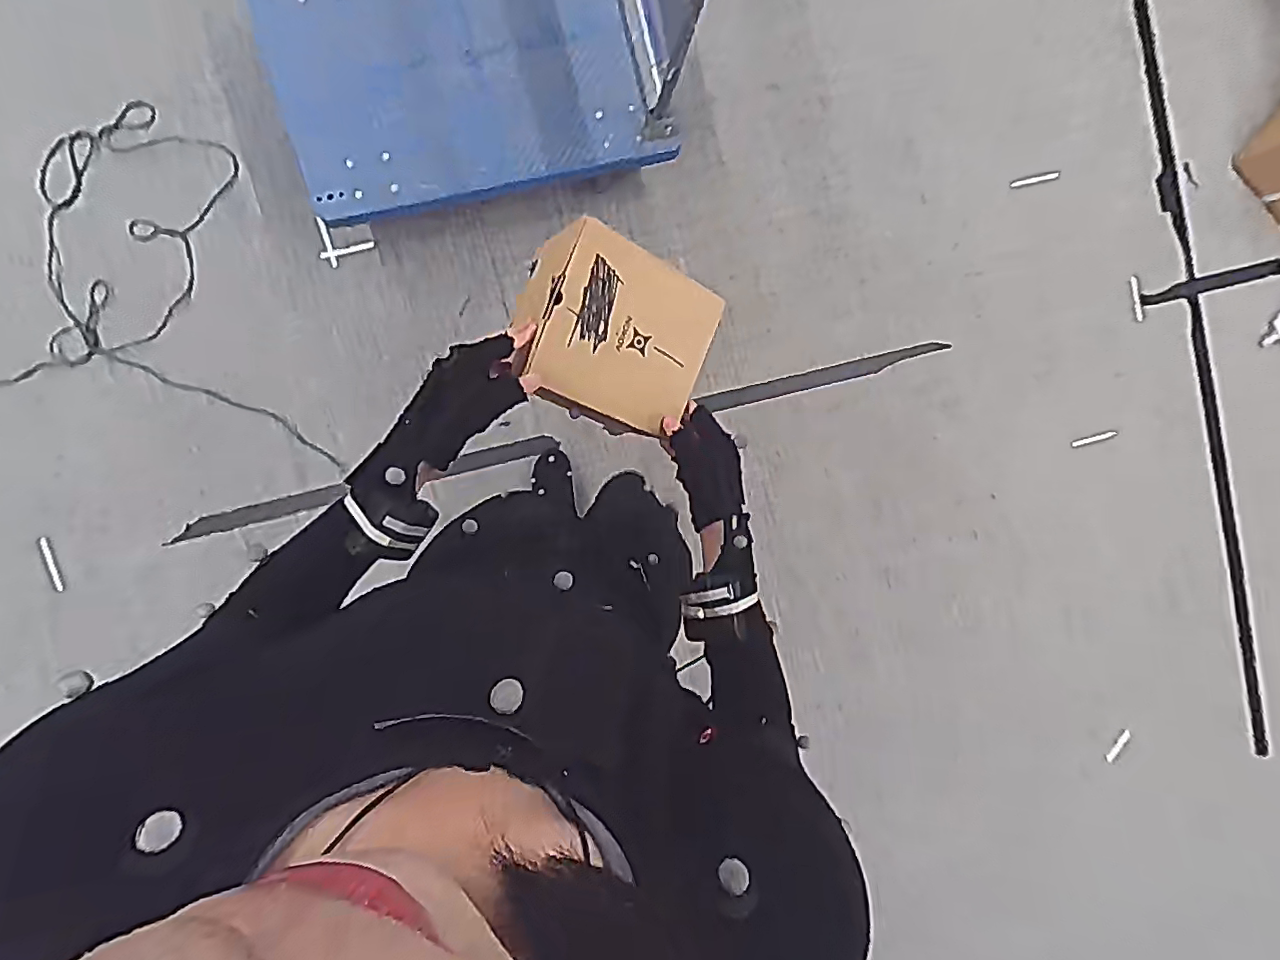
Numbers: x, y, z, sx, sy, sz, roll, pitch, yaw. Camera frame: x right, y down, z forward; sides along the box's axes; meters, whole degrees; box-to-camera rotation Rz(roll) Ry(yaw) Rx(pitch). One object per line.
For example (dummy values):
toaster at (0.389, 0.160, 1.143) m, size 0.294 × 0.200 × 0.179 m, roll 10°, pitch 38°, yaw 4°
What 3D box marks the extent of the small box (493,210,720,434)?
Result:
small box at (-0.048, -0.163, 0.611) m, size 0.179 × 0.176 × 0.168 m, roll 21°, pitch 91°, yaw -29°
